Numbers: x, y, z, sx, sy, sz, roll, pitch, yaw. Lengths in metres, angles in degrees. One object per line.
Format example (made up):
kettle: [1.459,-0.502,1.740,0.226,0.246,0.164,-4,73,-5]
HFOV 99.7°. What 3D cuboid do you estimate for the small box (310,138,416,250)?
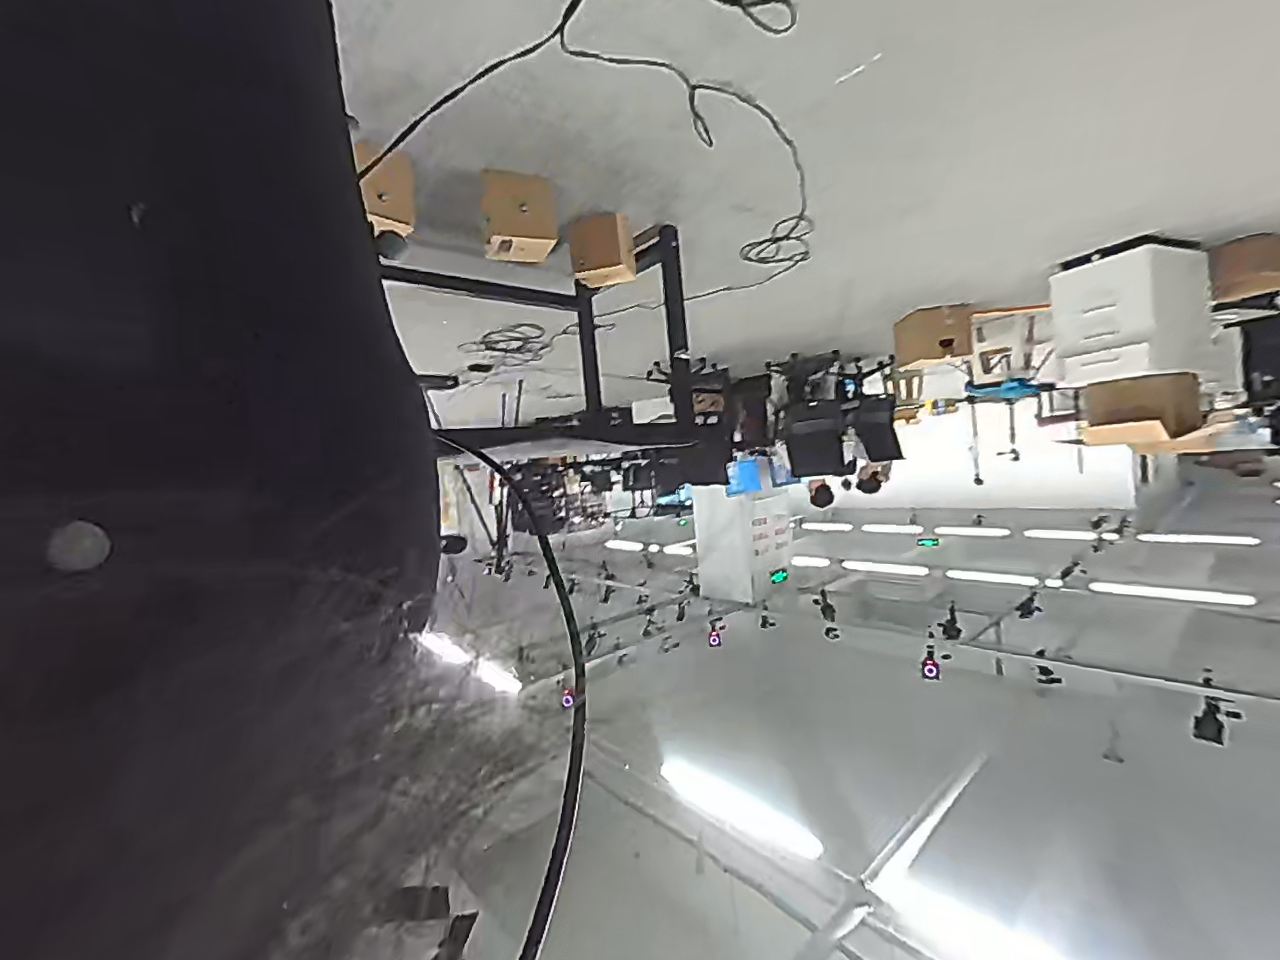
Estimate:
small box: [-0.664,-0.679,1.296,0.168,0.176,0.179,-5,-178,43]

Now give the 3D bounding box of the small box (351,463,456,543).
small box: [-0.577,0.048,1.328,0.179,0.176,0.168,-6,-175,2]

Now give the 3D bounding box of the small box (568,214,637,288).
small box: [-0.123,-0.756,1.789,0.179,0.176,0.168,-5,-177,16]
